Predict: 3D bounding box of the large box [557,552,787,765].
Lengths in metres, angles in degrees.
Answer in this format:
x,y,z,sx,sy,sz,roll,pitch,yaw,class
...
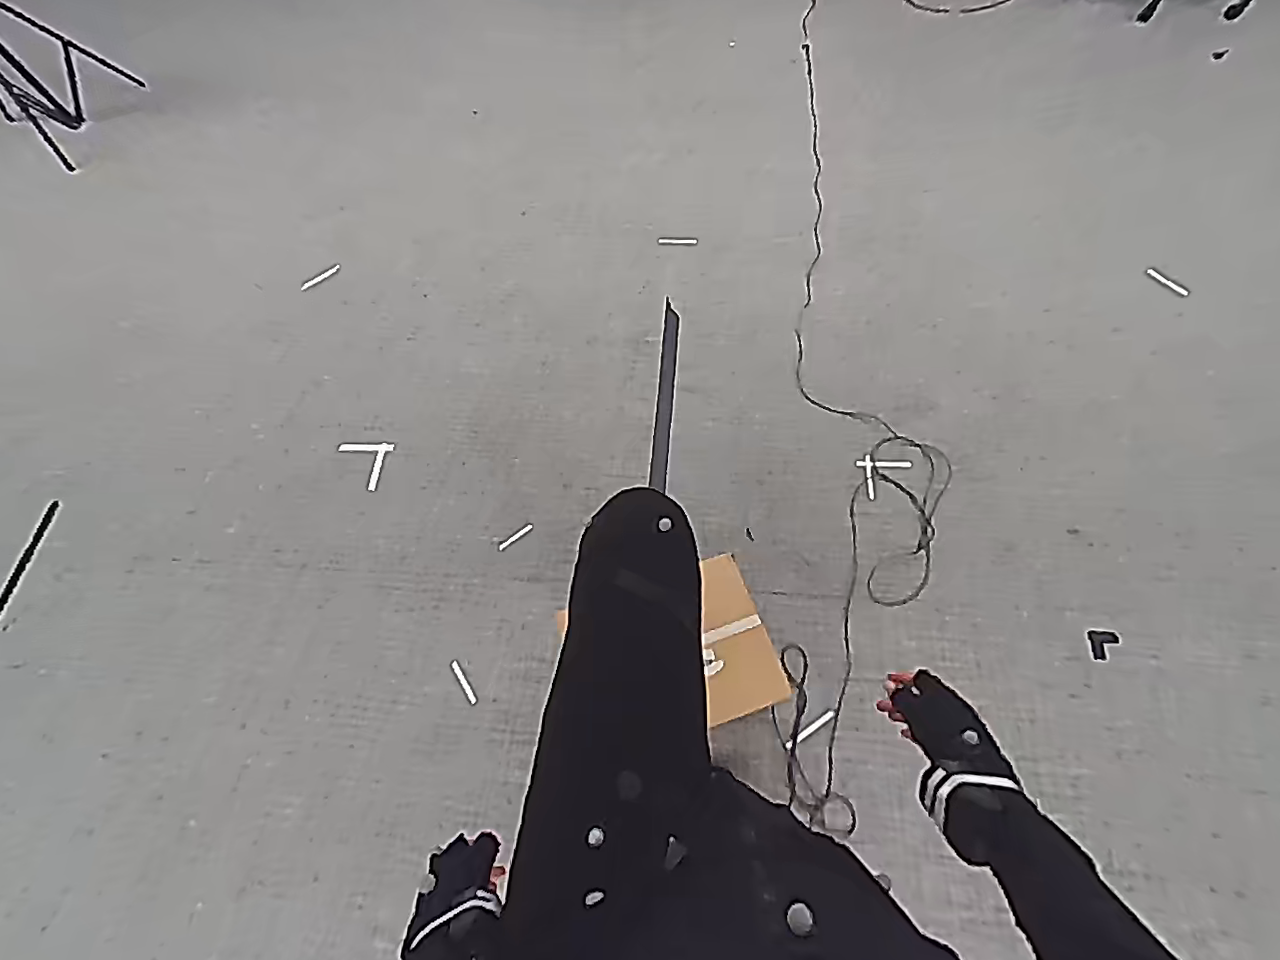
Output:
x,y,z,sx,sy,sz,roll,pitch,yaw,class
0.064,0.415,1.237,0.408,0.320,0.320,-19,65,-6,large box
